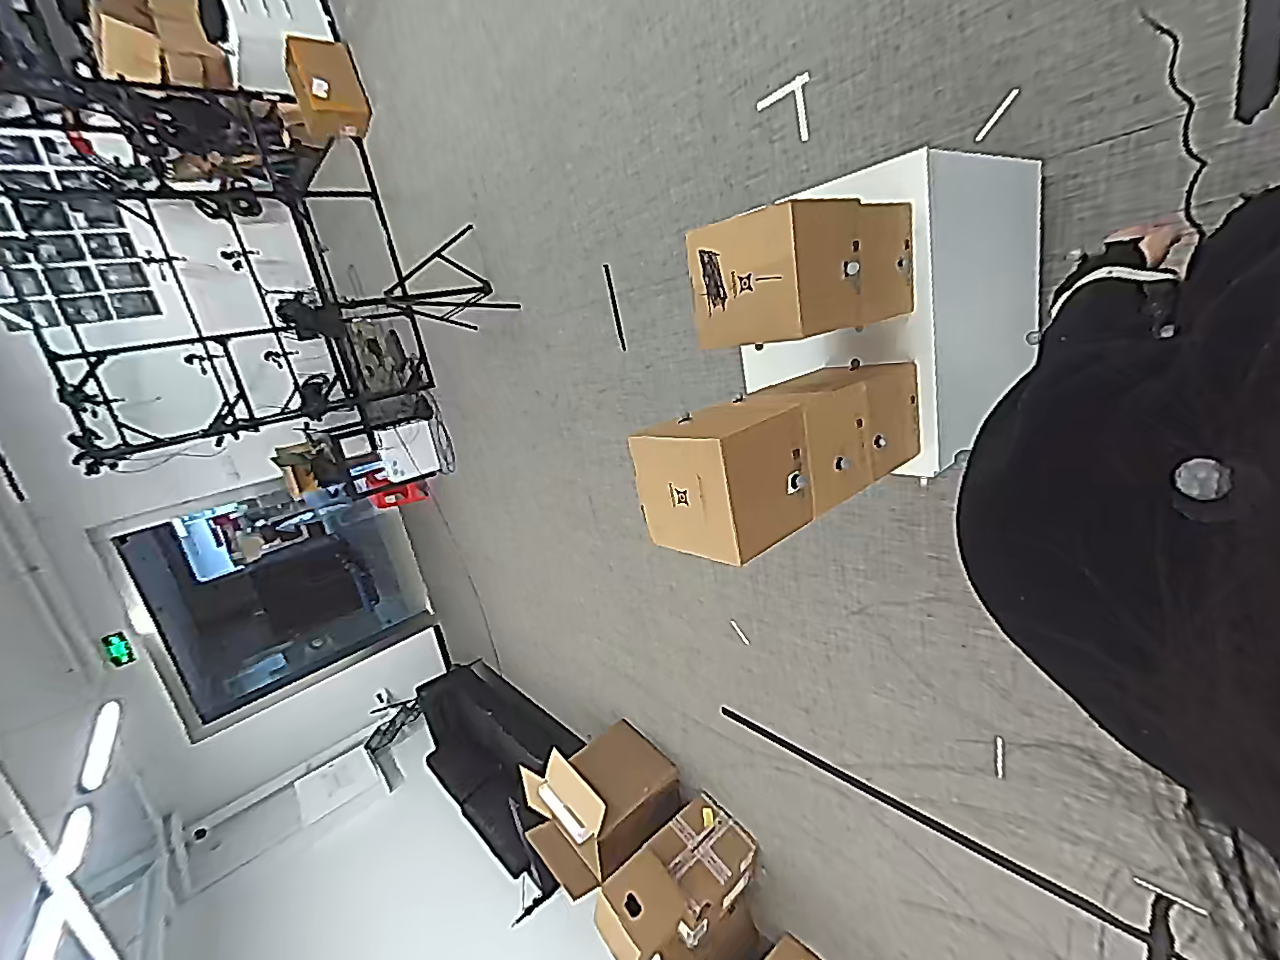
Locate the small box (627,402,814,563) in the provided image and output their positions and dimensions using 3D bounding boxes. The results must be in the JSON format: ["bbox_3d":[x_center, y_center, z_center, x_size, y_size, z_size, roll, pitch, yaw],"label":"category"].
[{"bbox_3d":[0.112,-0.008,0.745,0.179,0.176,0.168,6,114,50],"label":"small box"}]

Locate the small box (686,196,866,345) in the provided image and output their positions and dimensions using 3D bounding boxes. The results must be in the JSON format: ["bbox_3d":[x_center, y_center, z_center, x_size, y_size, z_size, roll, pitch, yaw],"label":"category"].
[{"bbox_3d":[0.193,-0.290,0.763,0.179,0.176,0.168,10,117,48],"label":"small box"}]

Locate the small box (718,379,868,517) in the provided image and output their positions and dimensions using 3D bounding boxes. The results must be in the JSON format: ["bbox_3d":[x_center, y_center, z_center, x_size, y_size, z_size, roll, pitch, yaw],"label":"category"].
[{"bbox_3d":[0.236,-0.057,0.838,0.179,0.176,0.168,8,114,51],"label":"small box"}]

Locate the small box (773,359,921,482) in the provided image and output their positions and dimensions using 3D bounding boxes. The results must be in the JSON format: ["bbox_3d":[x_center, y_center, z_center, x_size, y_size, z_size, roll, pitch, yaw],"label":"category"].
[{"bbox_3d":[0.357,-0.108,0.933,0.179,0.176,0.168,10,117,51],"label":"small box"}]
